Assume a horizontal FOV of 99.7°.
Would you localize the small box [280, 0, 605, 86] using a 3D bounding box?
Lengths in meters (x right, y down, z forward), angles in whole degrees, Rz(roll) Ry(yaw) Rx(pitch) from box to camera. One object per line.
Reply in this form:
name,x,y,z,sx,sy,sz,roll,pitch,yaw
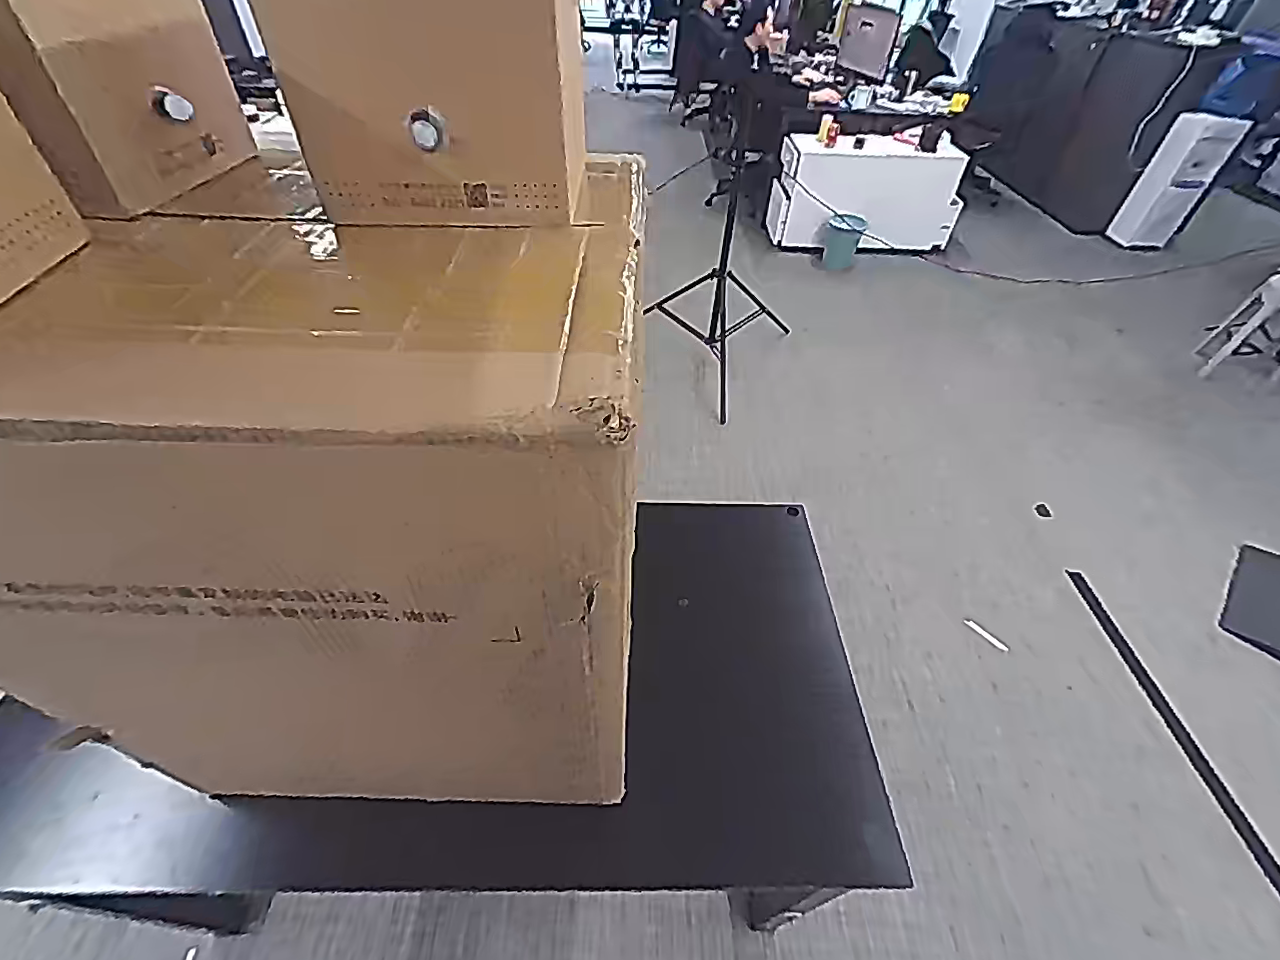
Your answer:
small box,-0.105,-0.331,0.290,0.168,0.176,0.179,0,44,-2
